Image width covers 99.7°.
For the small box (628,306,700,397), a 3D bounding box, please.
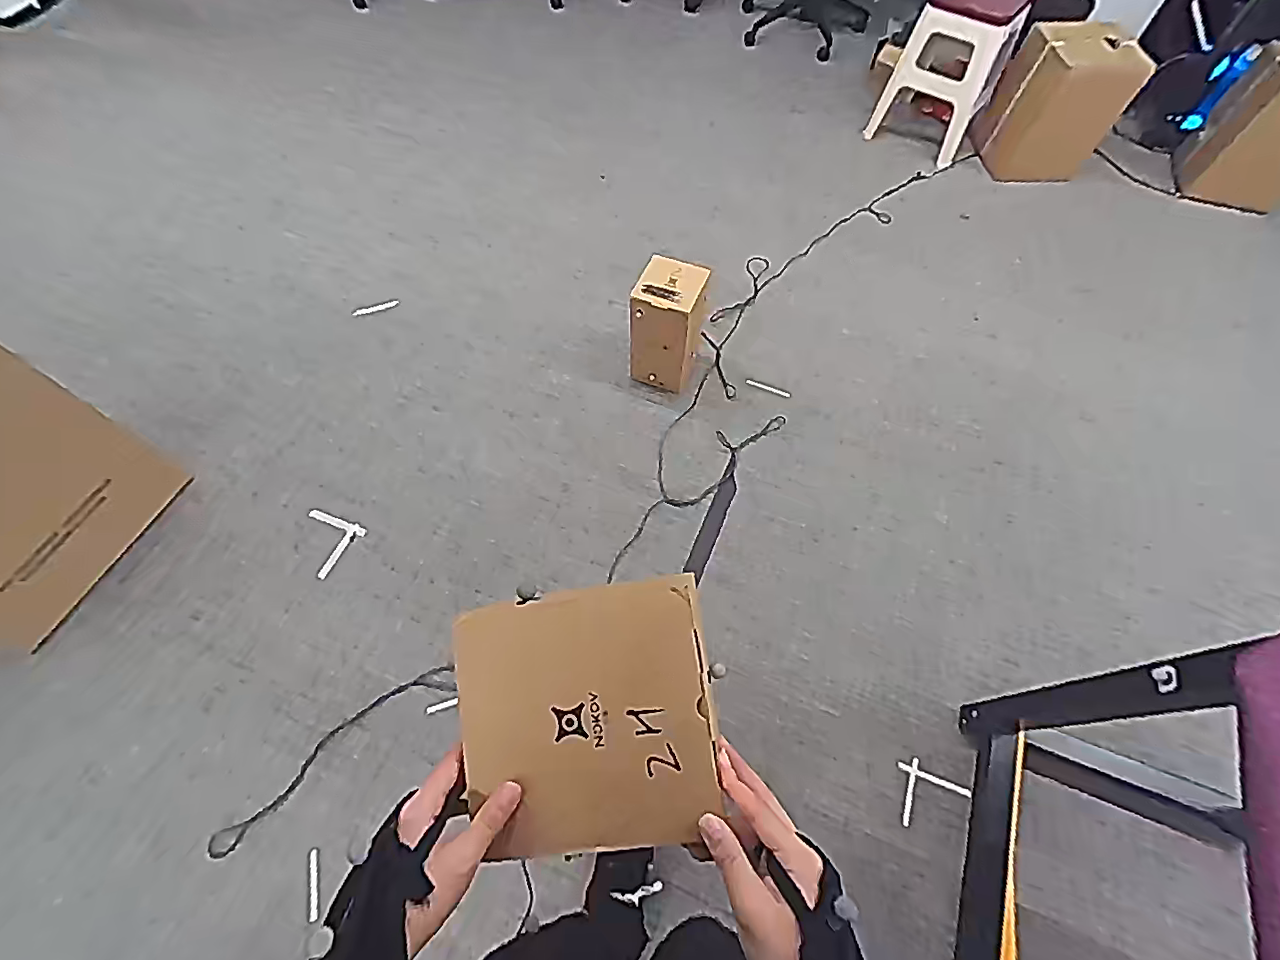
[{"bbox_3d":[0.070,-0.384,1.630,0.168,0.176,0.179,20,64,10],"label":"small box"}]
